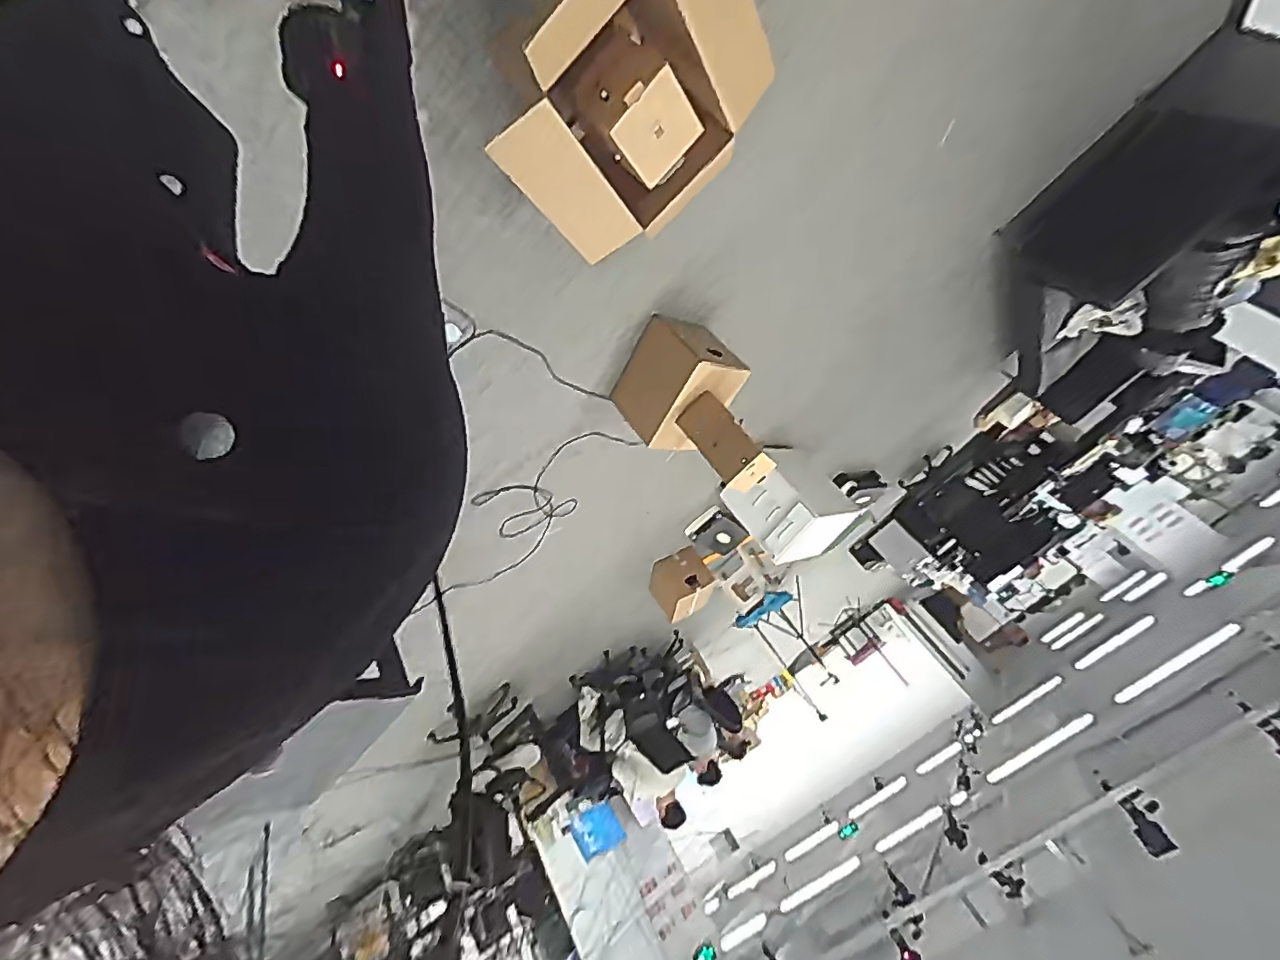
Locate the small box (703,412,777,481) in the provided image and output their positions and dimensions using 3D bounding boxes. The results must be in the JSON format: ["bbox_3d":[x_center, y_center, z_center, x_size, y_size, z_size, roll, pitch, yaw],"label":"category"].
[{"bbox_3d":[0.361,-0.122,1.954,0.168,0.176,0.179,-45,151,15],"label":"small box"}]

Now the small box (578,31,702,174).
[{"bbox_3d":[-0.004,-0.815,1.165,0.168,0.176,0.179,-43,150,16],"label":"small box"}]
